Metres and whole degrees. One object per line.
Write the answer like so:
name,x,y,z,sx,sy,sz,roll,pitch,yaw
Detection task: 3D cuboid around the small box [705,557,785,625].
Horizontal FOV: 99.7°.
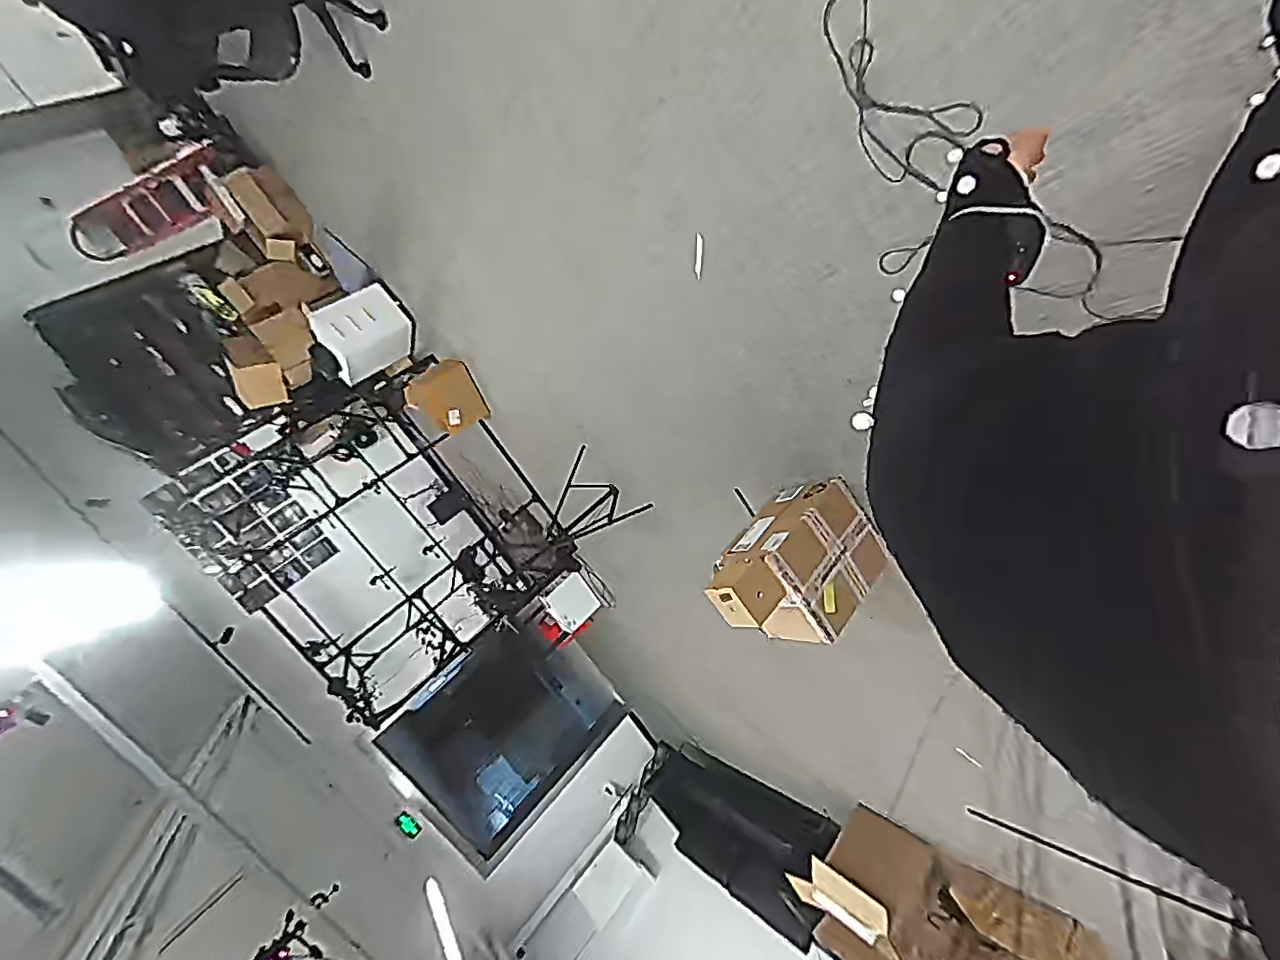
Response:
small box,0.367,0.382,1.885,0.179,0.176,0.168,53,150,-7
